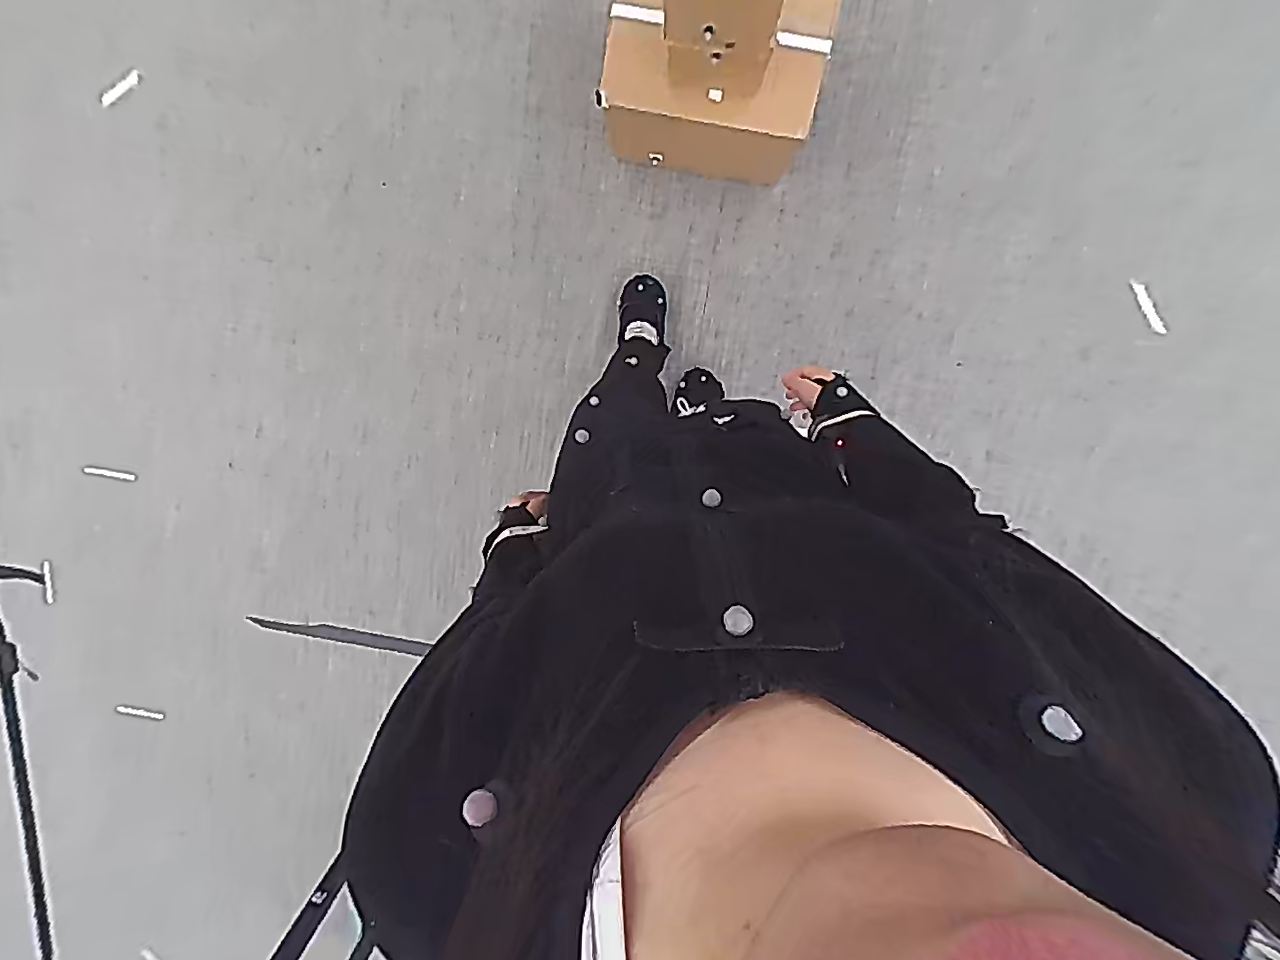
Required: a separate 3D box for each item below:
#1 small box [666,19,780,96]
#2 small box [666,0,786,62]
[{"bbox_3d":[0.142,-0.785,0.917,0.179,0.176,0.168,8,105,0],"label":"small box"},{"bbox_3d":[0.128,-0.740,0.761,0.168,0.176,0.179,9,105,1],"label":"small box"}]
